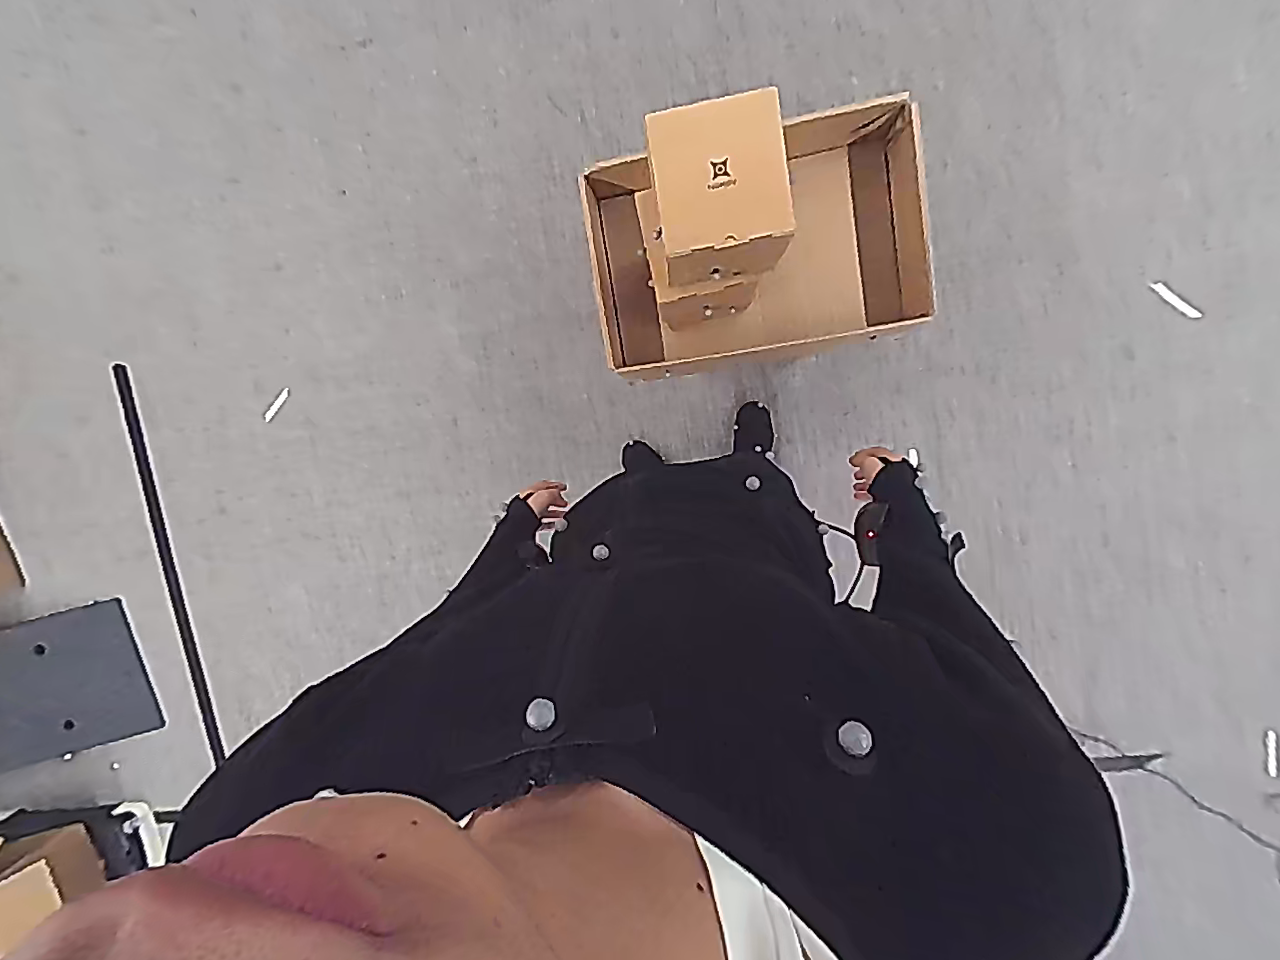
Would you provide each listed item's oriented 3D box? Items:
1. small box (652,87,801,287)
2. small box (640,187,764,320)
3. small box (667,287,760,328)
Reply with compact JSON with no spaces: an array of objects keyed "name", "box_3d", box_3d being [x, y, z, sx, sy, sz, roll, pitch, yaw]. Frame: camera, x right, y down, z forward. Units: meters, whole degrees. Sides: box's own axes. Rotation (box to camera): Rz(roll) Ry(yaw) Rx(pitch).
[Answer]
[{"name":"small box","box_3d":[0.112,-0.387,0.748,0.168,0.176,0.179,-10,96,6]},{"name":"small box","box_3d":[0.101,-0.387,0.913,0.168,0.176,0.179,-13,96,6]},{"name":"small box","box_3d":[0.123,-0.415,1.073,0.179,0.176,0.168,-15,95,7]}]
